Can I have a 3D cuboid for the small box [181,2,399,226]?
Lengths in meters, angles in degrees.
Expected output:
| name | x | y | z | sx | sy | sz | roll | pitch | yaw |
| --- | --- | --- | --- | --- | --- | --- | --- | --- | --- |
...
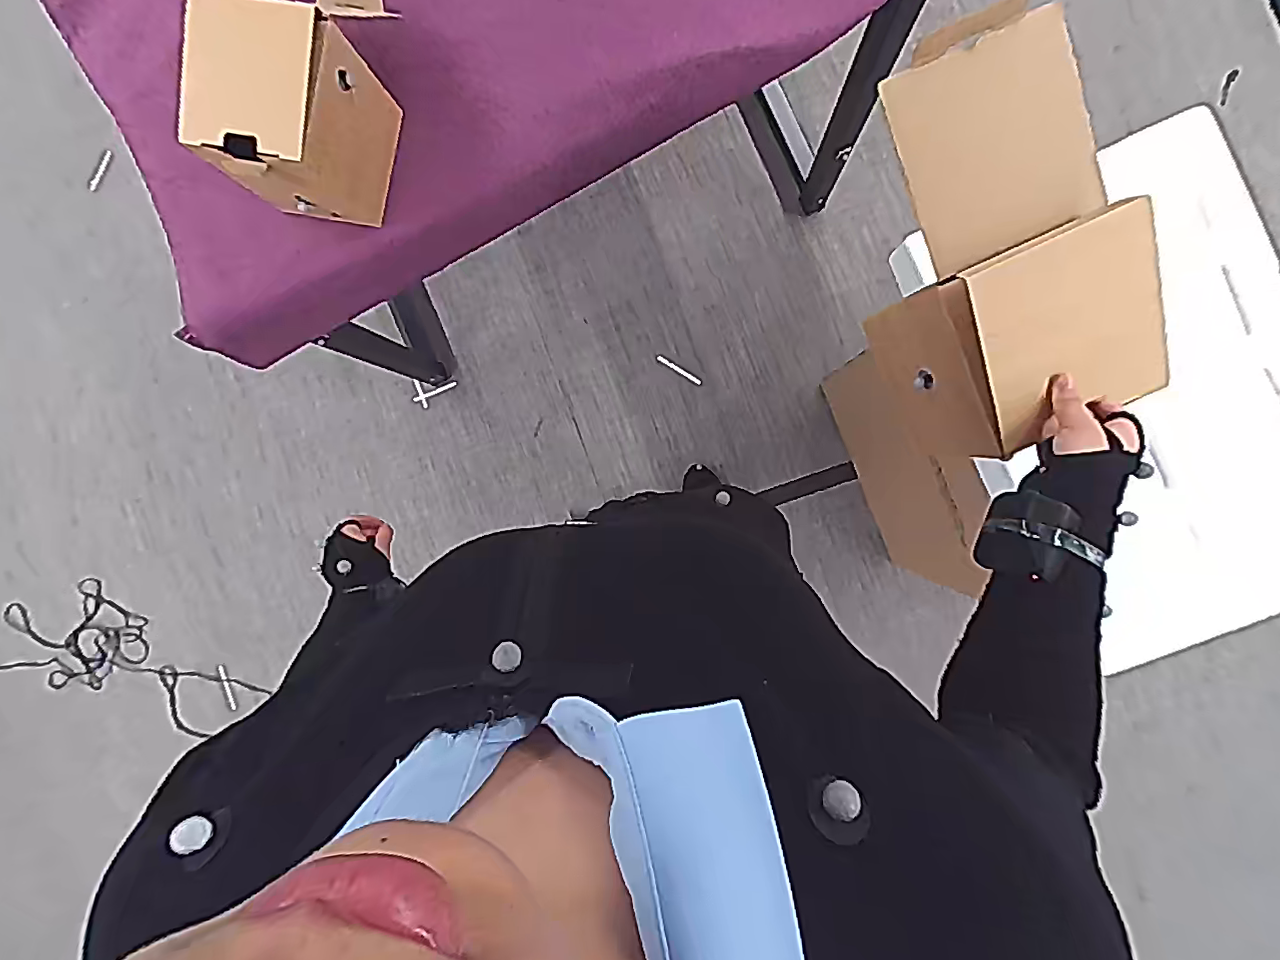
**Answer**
| name | x | y | z | sx | sy | sz | roll | pitch | yaw |
| --- | --- | --- | --- | --- | --- | --- | --- | --- | --- |
| small box | -0.451 | -0.476 | 0.725 | 0.168 | 0.176 | 0.179 | 12 | 90 | 6 |
